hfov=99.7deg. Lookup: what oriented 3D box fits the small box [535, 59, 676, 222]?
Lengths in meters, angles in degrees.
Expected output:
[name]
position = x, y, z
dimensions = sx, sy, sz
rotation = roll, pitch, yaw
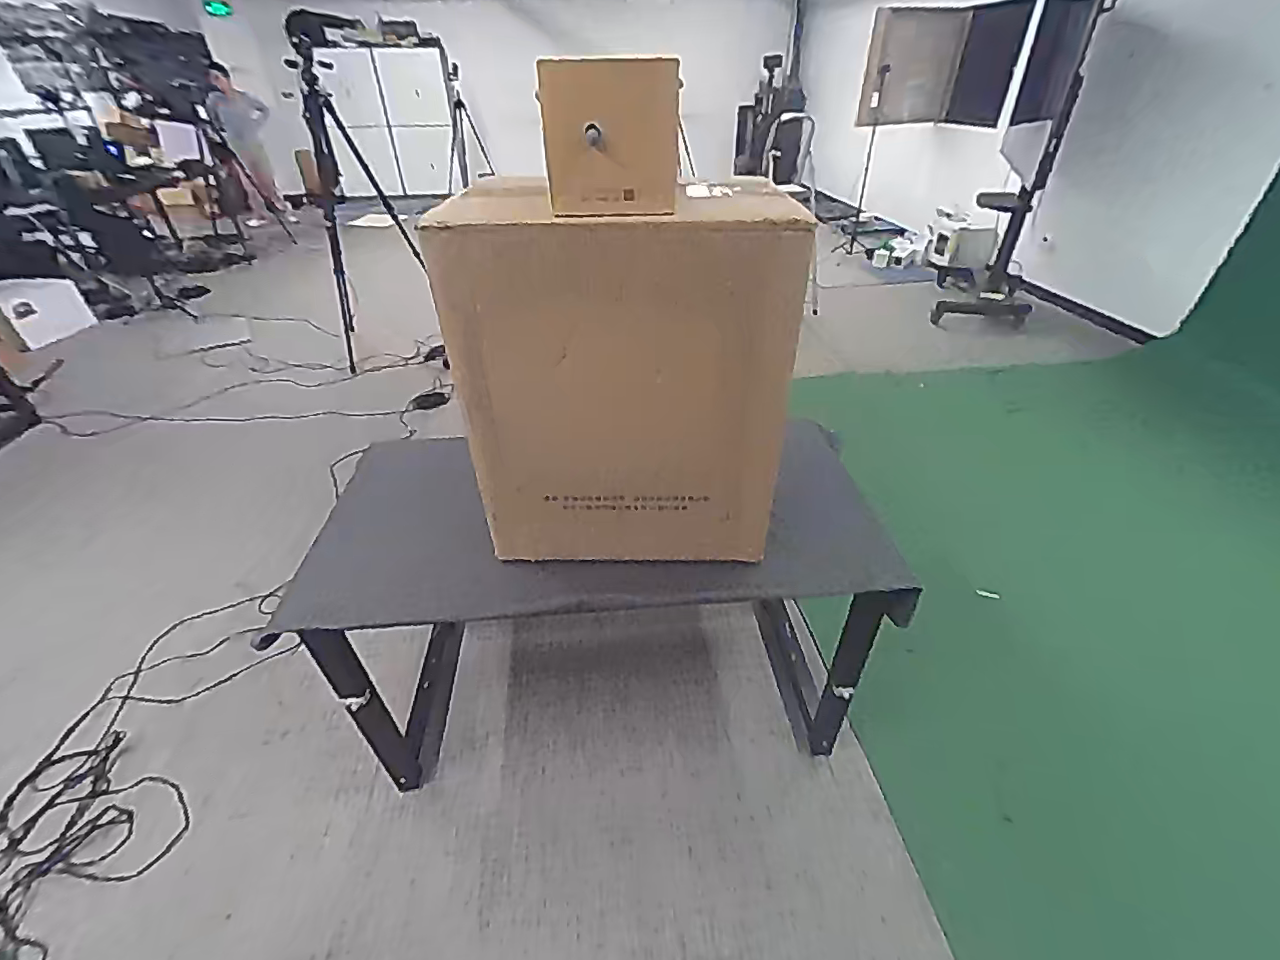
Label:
[small box]
position = -0.037, -0.455, 0.729
dimensions = 0.168, 0.176, 0.179
rotation = -1, 38, 0
